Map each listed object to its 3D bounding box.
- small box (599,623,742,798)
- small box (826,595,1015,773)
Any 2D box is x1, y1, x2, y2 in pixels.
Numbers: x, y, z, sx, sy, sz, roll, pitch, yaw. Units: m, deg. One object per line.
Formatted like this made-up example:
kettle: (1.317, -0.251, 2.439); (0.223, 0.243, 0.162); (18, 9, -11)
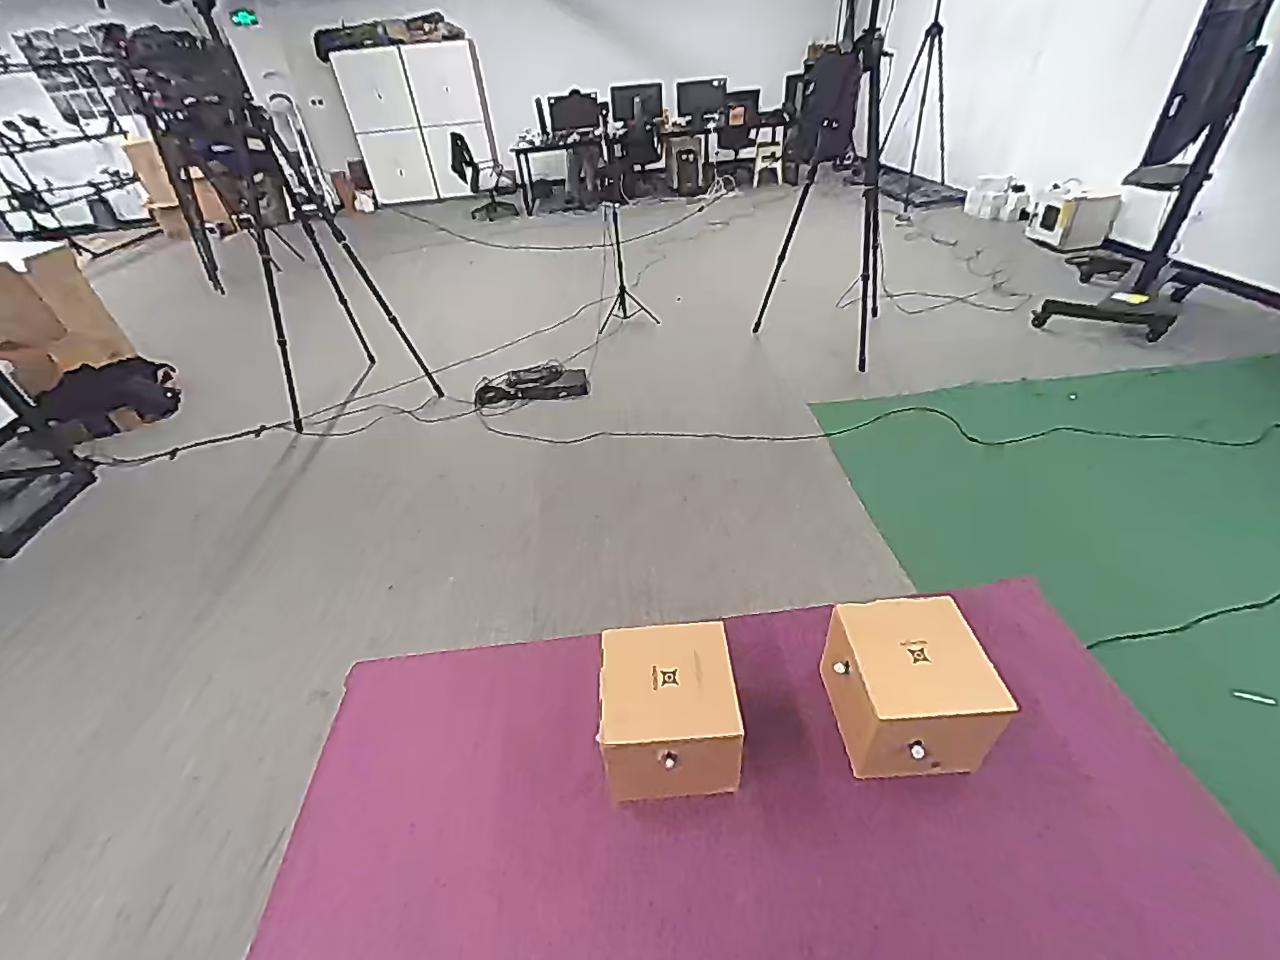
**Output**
small box: (0.043, 0.323, 0.755); (0.179, 0.176, 0.168); (-5, 39, 2)
small box: (0.369, 0.286, 0.751); (0.168, 0.176, 0.179); (-6, 37, 2)
